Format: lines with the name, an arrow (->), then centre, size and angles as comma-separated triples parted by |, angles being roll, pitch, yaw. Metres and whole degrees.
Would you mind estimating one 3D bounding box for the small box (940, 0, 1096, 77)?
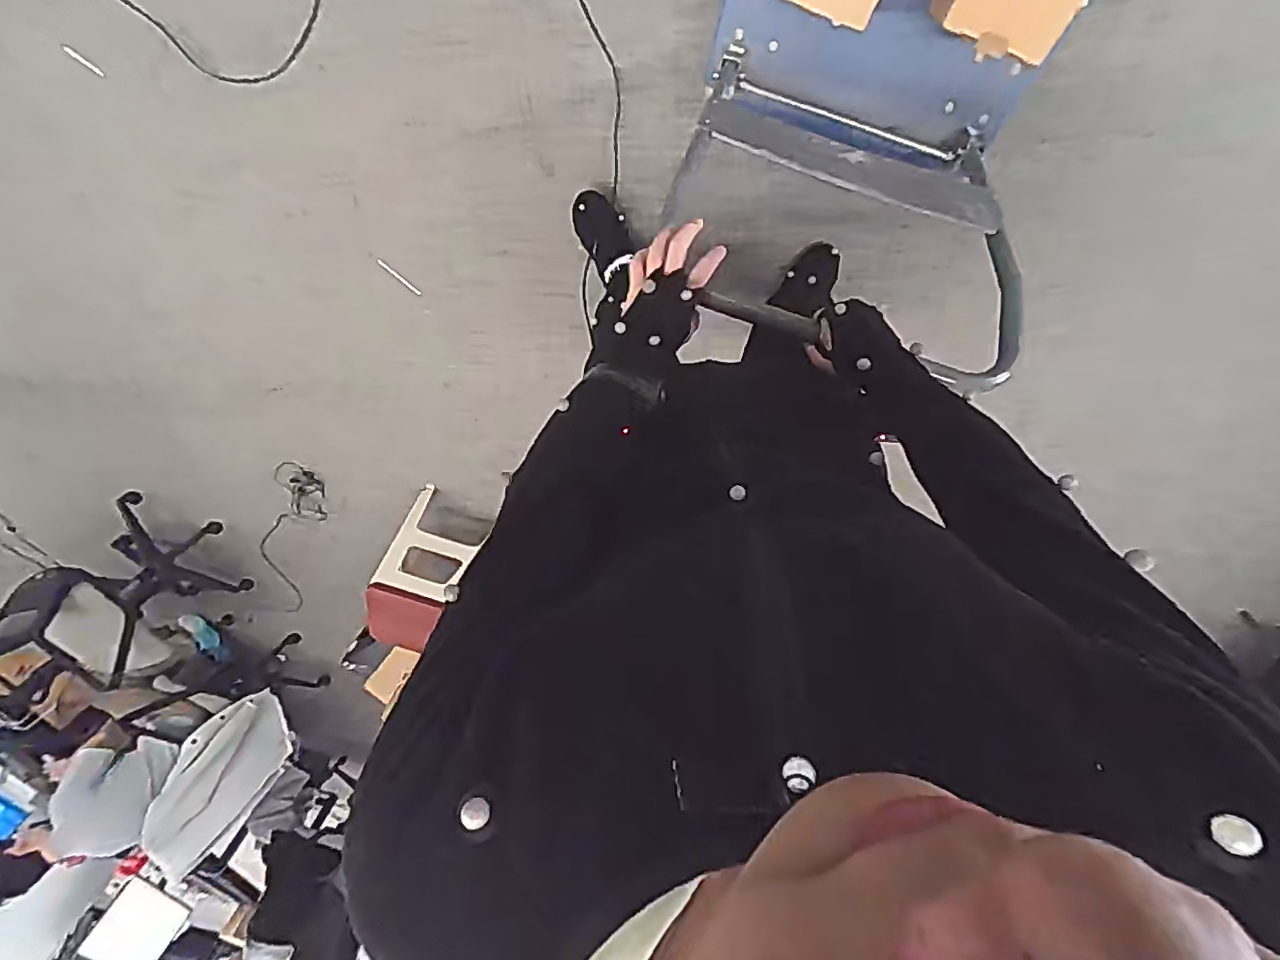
small box -> 0.578, -0.755, 0.808 | 0.168, 0.176, 0.179 | 20, 142, -4
